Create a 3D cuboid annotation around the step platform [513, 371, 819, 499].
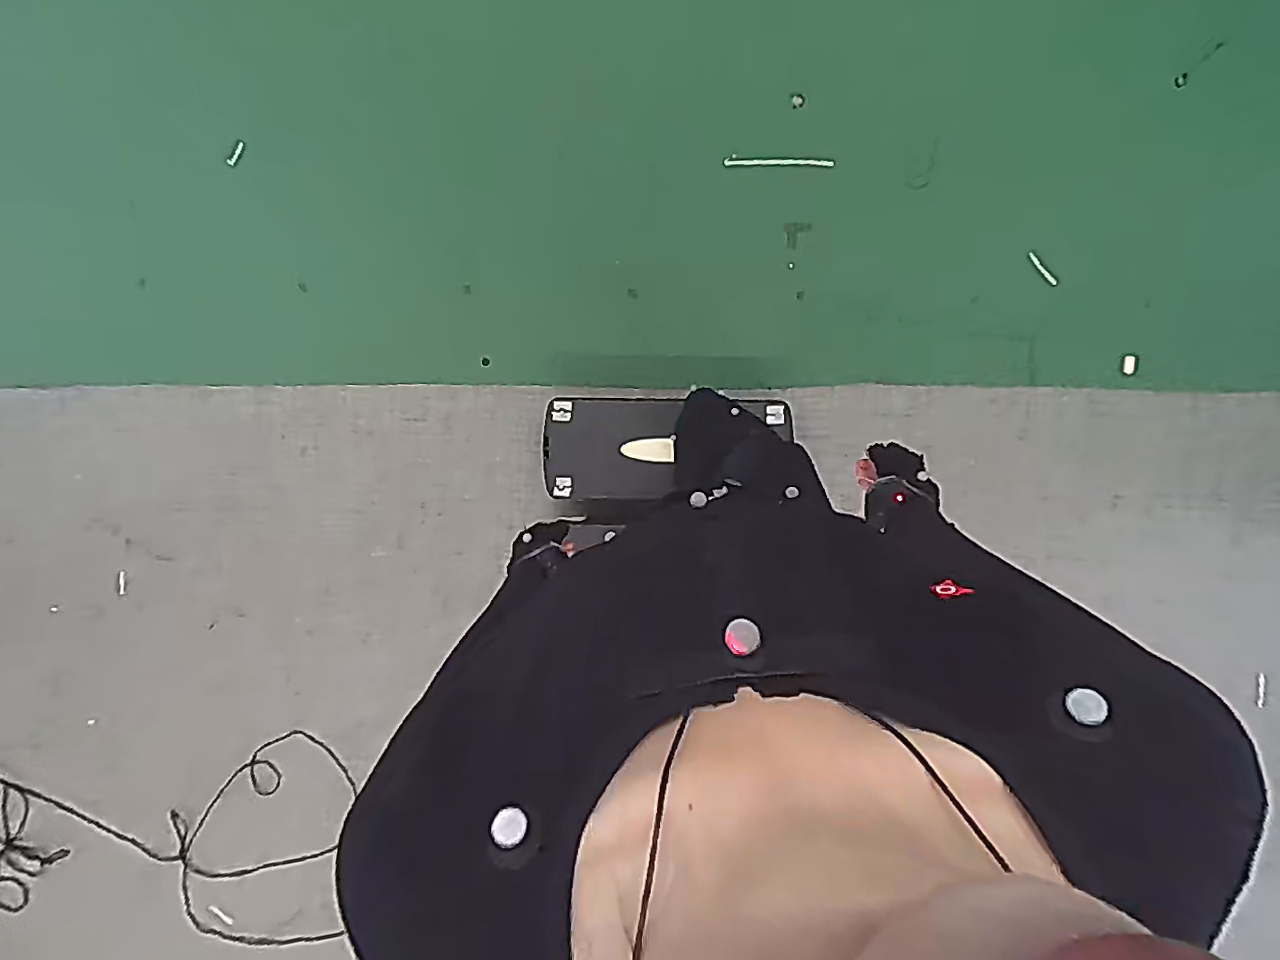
[{"bbox_3d":[0.058,-0.105,1.295,0.684,0.204,0.286,0,93,2],"label":"step platform"}]
